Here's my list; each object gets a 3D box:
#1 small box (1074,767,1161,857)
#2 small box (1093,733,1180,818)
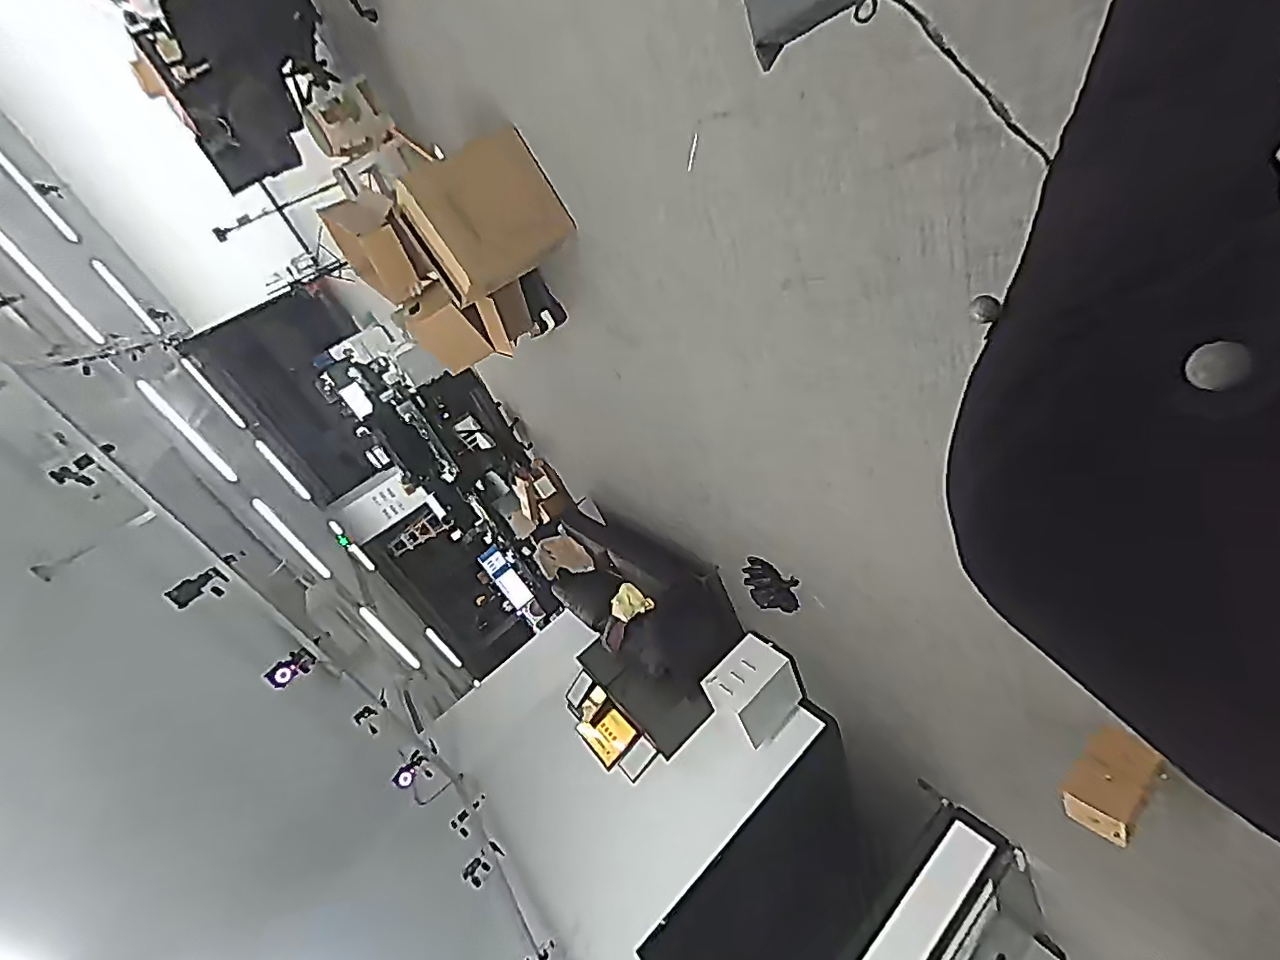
[{"bbox_3d":[1.638,1.127,1.856,0.179,0.176,0.168,20,143,57],"label":"small box"},{"bbox_3d":[1.759,1.035,1.914,0.179,0.176,0.168,14,138,60],"label":"small box"}]
